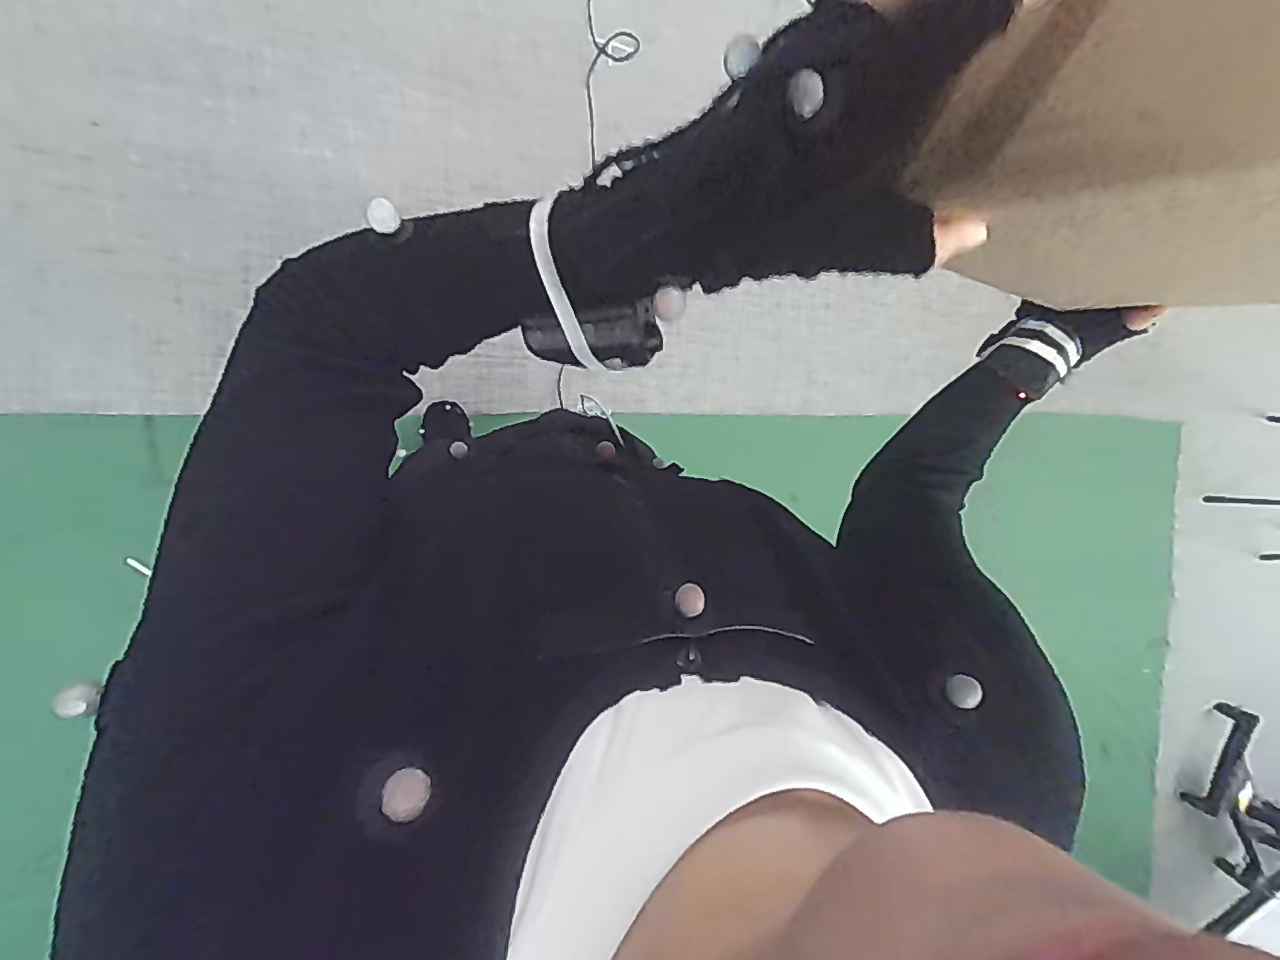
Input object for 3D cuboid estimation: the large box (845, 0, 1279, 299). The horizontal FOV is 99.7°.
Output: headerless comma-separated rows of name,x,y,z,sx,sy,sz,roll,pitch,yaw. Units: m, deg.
large box,0.340,-0.268,0.239,0.408,0.320,0.320,-8,107,-41
